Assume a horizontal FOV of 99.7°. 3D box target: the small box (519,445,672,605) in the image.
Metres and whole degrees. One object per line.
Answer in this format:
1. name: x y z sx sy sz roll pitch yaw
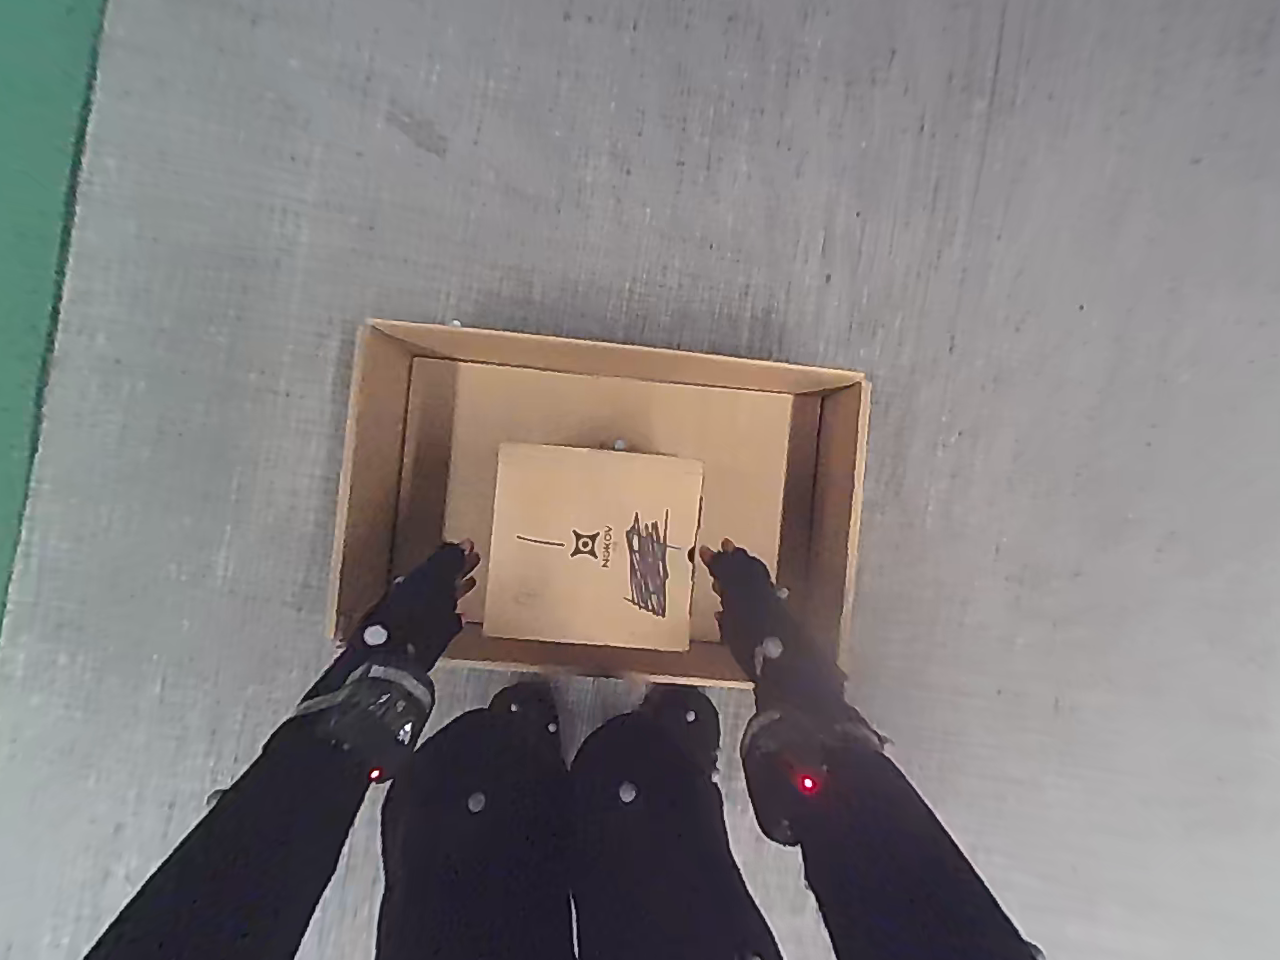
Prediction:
1. small box: -0.054 0.054 0.709 0.168 0.176 0.179 5 89 -3
